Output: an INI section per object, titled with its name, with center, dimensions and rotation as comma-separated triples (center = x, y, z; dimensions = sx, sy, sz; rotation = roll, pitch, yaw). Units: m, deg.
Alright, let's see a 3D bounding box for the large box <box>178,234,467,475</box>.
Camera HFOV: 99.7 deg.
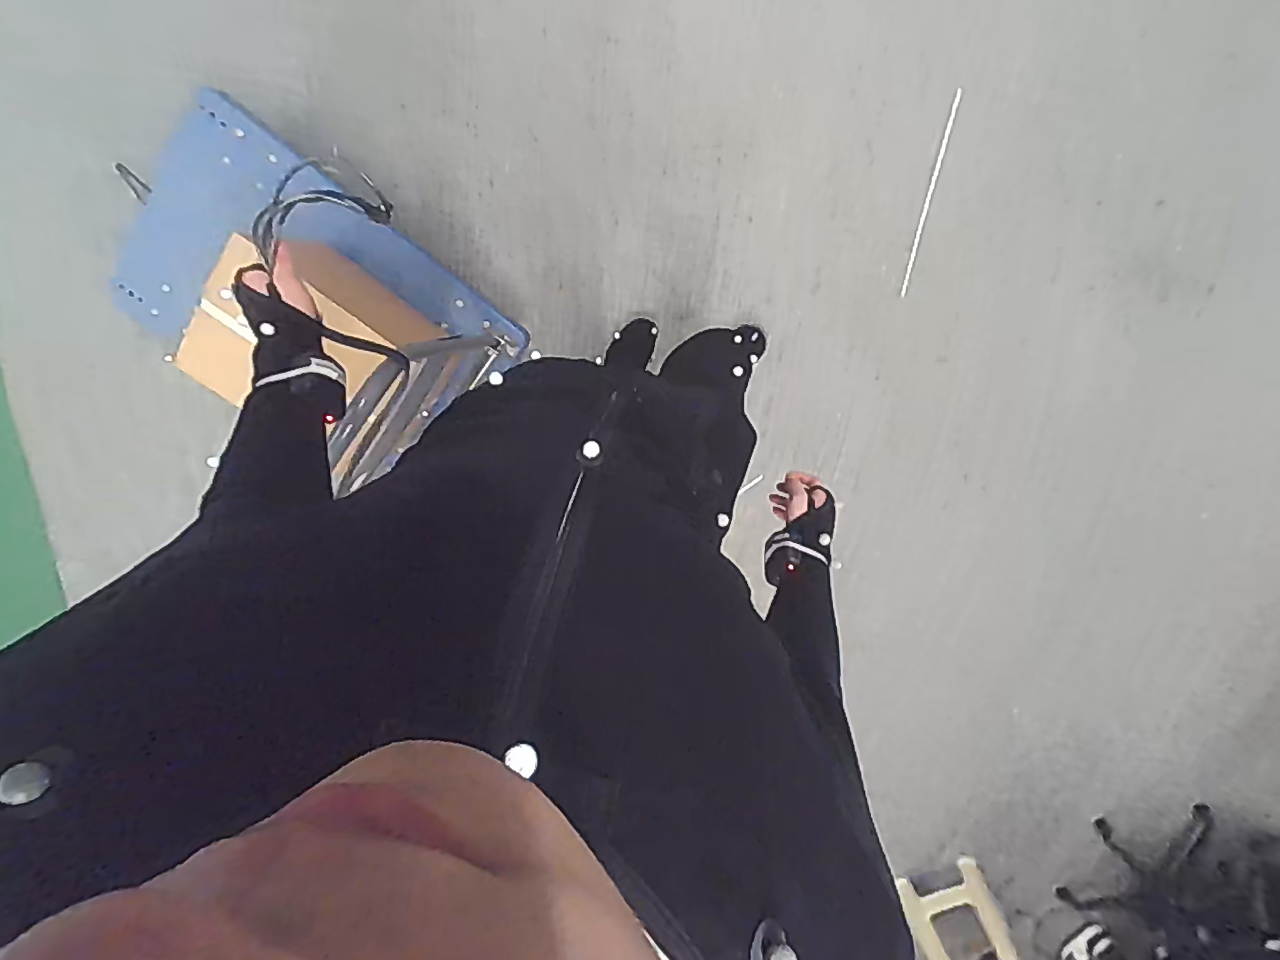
[large box]
center = -0.677, -0.283, 1.219
dimensions = 0.408, 0.320, 0.320
rotation = 37, 106, -11
